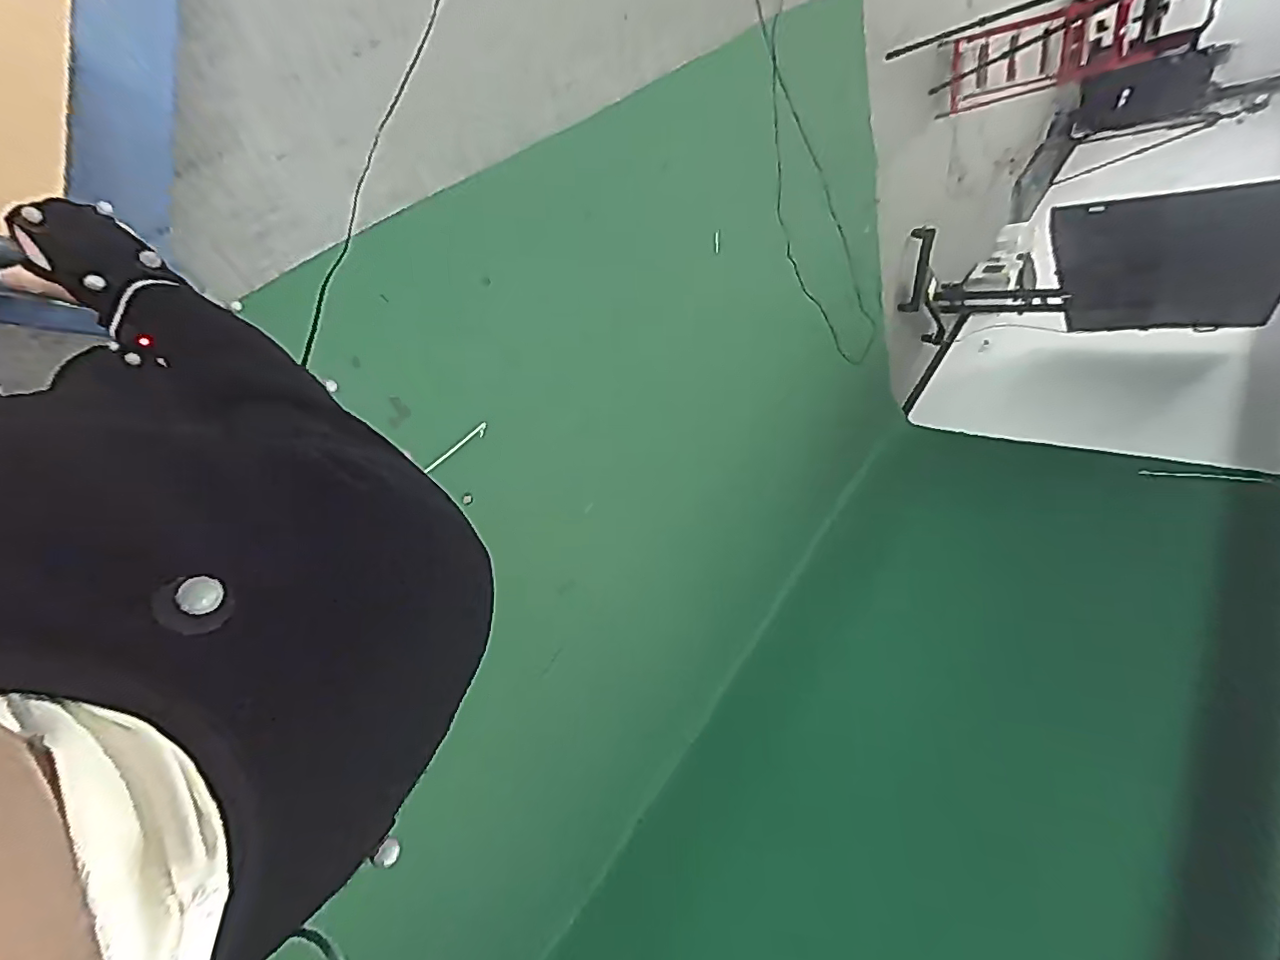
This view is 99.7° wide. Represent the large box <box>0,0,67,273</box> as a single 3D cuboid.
[{"bbox_3d":[-1.022,-0.543,0.745,0.320,0.320,0.408,3,98,-47],"label":"large box"}]
